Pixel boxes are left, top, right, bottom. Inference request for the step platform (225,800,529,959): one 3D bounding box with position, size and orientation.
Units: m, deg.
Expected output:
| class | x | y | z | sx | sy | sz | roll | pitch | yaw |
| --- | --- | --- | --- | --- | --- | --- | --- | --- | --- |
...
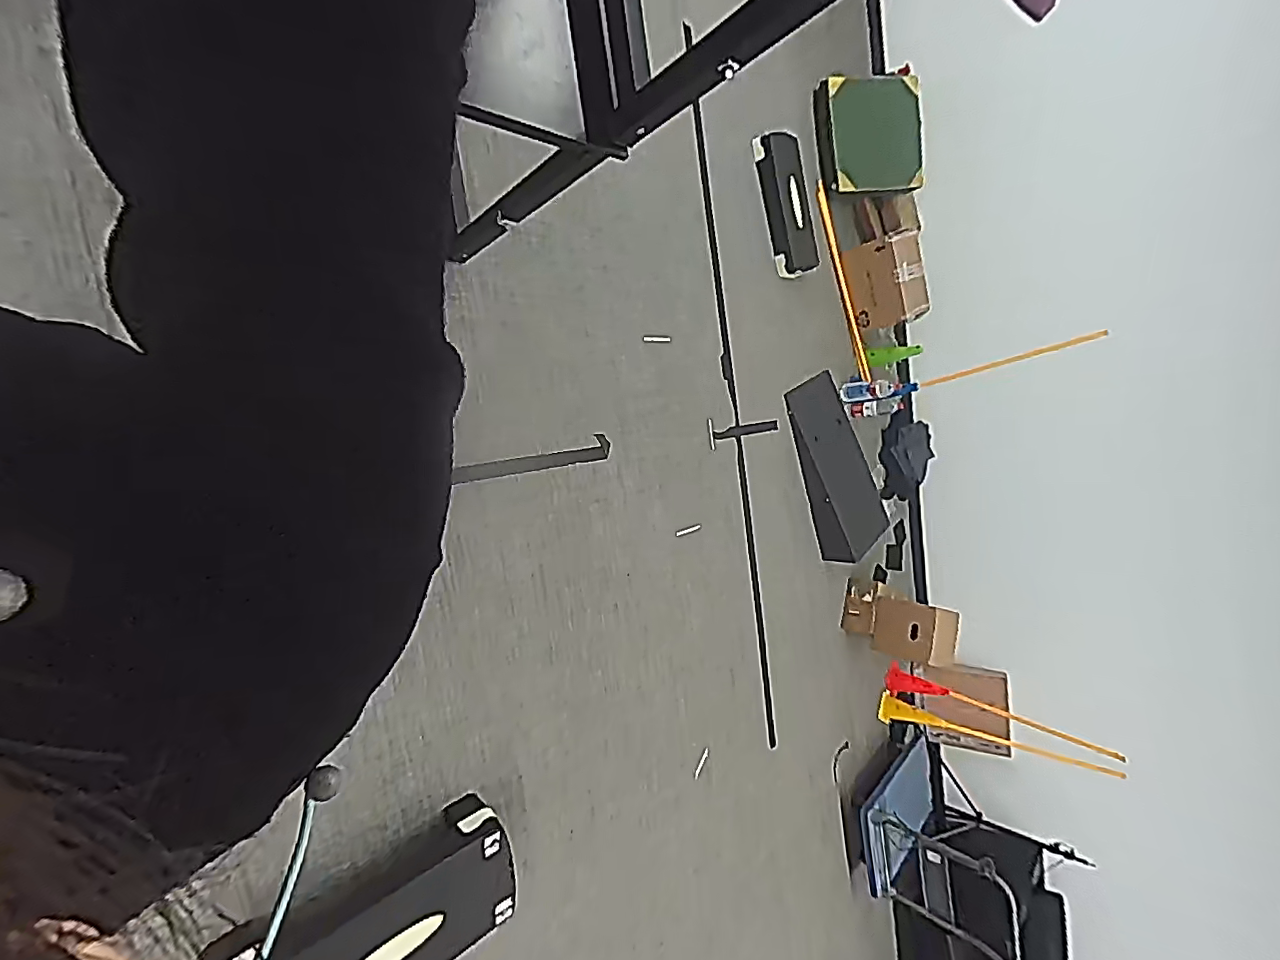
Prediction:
| class | x | y | z | sx | sy | sz | roll | pitch | yaw |
| --- | --- | --- | --- | --- | --- | --- | --- | --- | --- |
| step platform | -0.612 | 1.117 | 1.364 | 0.684 | 0.204 | 0.286 | -6 | 93 | -44 |
